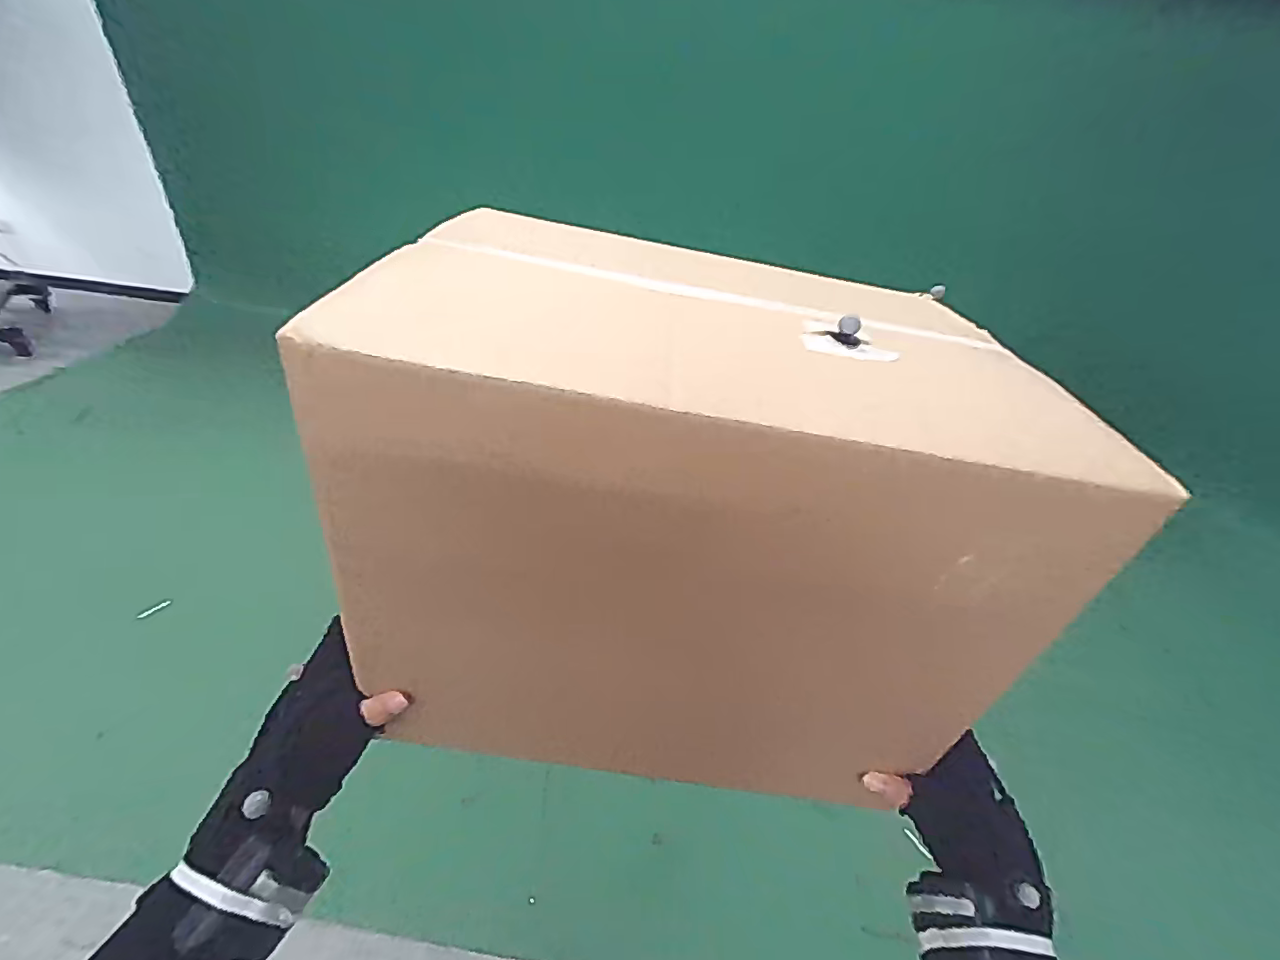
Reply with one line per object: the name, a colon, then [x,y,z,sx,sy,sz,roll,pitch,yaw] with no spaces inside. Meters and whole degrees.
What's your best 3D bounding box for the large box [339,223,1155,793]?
large box: [0.036,0.014,0.452,0.408,0.320,0.320,11,35,-5]
